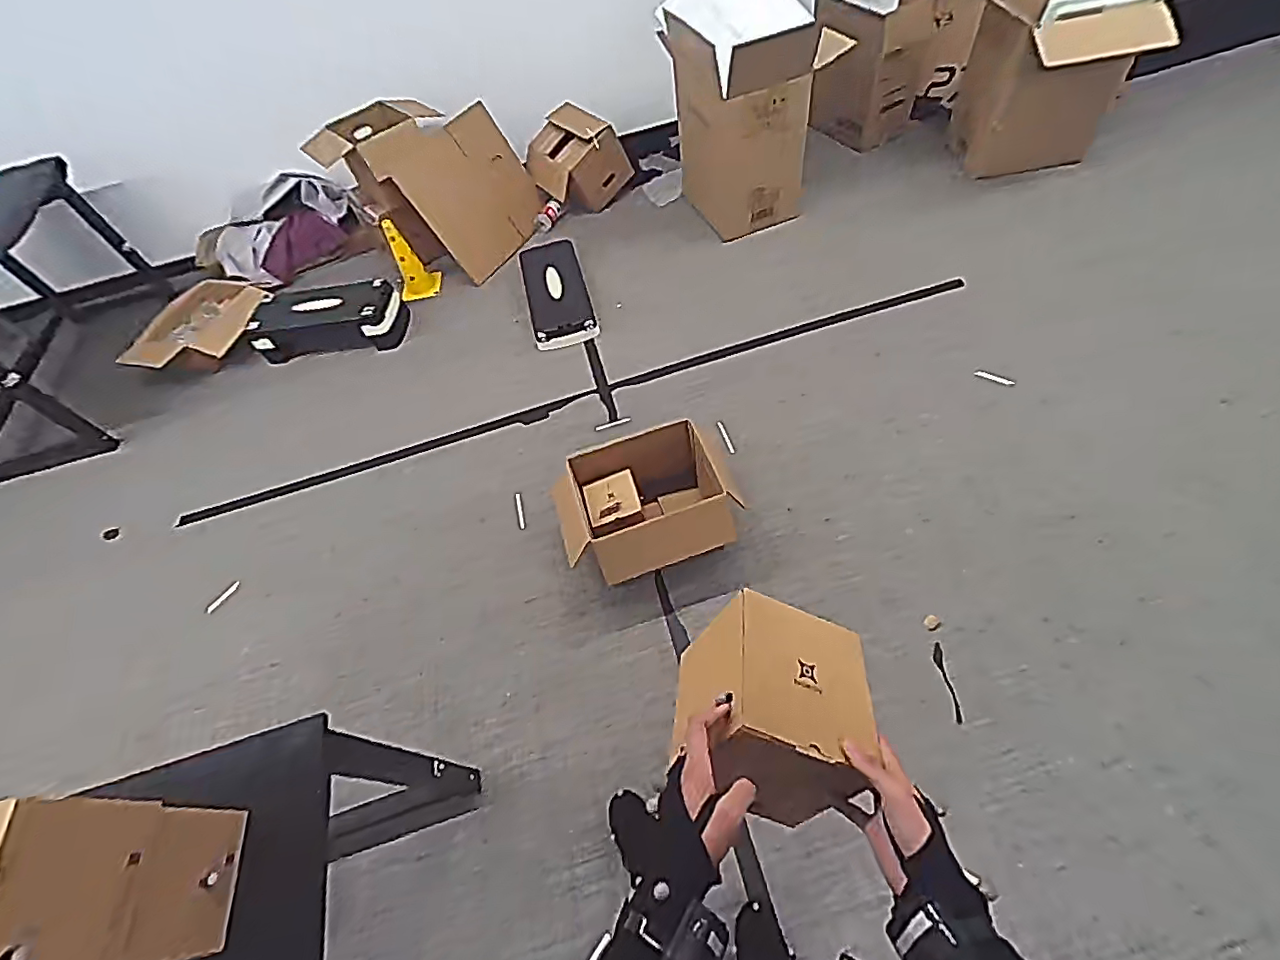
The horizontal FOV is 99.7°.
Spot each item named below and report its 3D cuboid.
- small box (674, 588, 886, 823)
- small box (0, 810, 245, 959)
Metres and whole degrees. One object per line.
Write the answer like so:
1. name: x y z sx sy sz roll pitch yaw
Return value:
1. small box: 0.151 0.266 0.637 0.168 0.176 0.179 24 39 -8
2. small box: -0.672 0.545 0.702 0.179 0.176 0.168 -13 56 0
